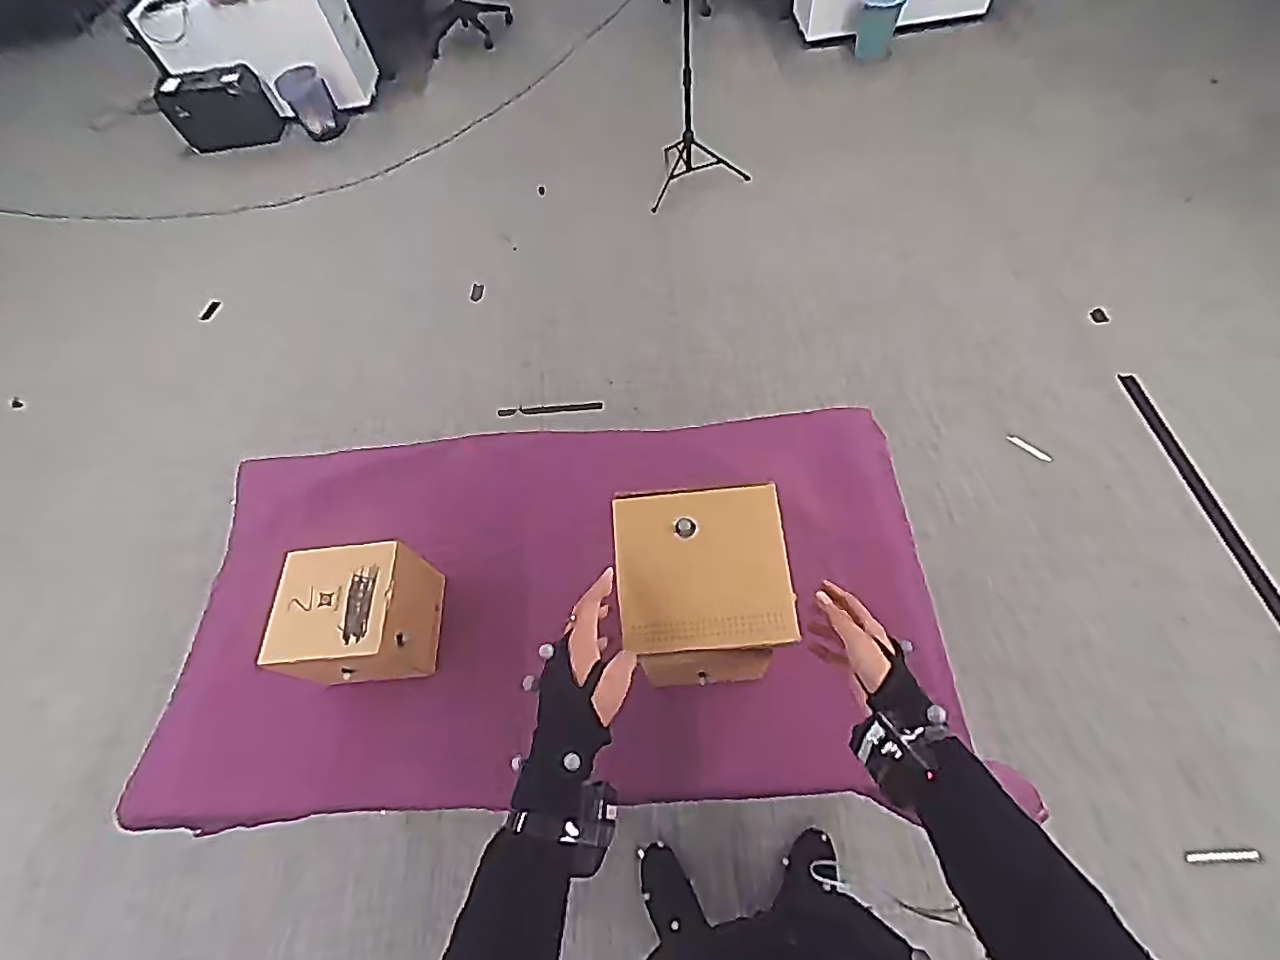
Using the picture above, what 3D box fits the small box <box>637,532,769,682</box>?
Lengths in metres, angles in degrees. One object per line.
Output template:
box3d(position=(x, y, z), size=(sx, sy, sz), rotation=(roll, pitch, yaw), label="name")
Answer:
box3d(position=(0.088, 0.192, 0.787), size=(0.168, 0.176, 0.179), rotation=(-5, 60, 4), label="small box")
